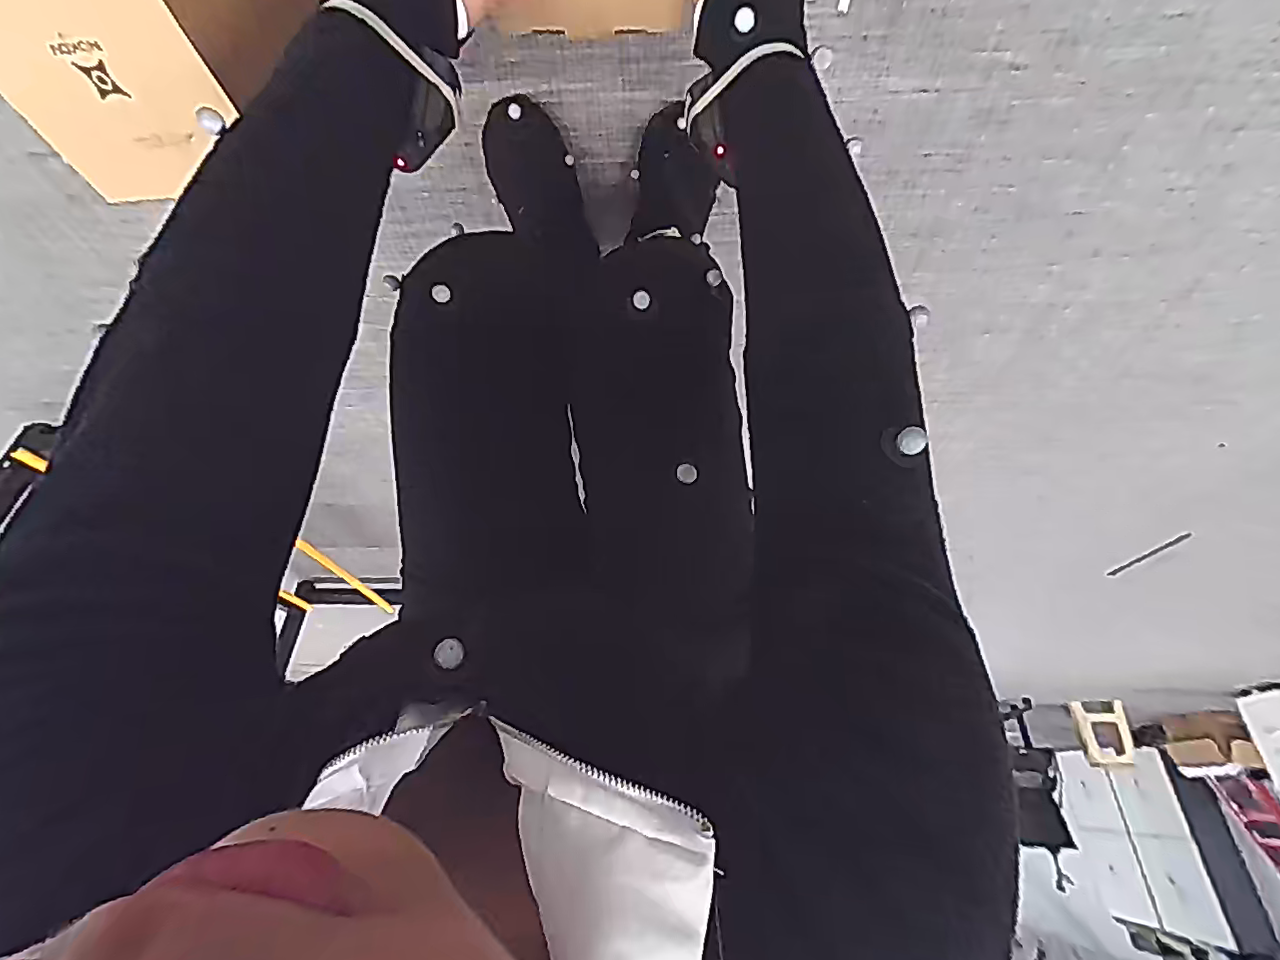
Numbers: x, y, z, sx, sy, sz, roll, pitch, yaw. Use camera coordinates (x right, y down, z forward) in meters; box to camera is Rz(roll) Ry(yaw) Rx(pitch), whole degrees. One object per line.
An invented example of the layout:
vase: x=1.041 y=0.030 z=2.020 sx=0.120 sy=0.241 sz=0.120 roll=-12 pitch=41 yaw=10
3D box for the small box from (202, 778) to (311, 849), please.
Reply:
small box: x=-1.118 y=0.978 z=1.594 sx=0.179 sy=0.176 sz=0.168 roll=1 pitch=150 yaw=2

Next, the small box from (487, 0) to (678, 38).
small box: x=-0.044 y=-0.503 z=0.439 sx=0.168 sy=0.176 sz=0.179 roll=2 pitch=151 yaw=4

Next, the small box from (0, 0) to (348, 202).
small box: x=-0.361 y=-0.344 z=0.405 sx=0.168 sy=0.176 sz=0.179 roll=0 pitch=151 yaw=7
